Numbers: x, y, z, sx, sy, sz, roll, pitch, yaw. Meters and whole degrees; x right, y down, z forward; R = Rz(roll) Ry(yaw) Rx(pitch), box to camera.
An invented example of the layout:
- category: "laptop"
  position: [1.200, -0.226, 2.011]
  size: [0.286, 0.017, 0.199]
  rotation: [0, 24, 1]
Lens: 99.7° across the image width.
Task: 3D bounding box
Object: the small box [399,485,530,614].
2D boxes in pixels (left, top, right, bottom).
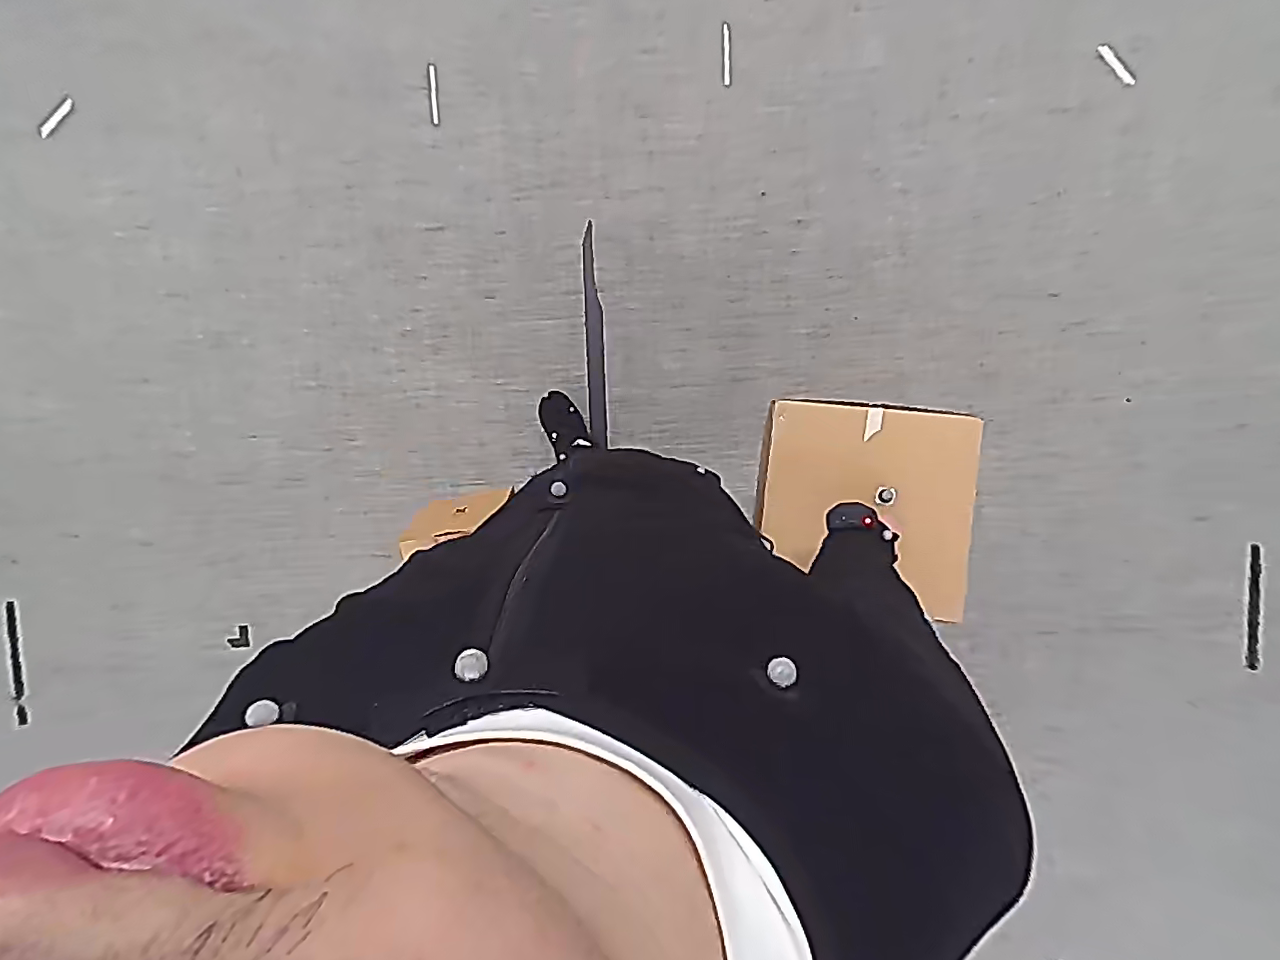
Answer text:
- category: "small box"
  position: [-0.308, 0.129, 0.990]
  size: [0.168, 0.179, 0.176]
  rotation: [-9, 112, 0]
